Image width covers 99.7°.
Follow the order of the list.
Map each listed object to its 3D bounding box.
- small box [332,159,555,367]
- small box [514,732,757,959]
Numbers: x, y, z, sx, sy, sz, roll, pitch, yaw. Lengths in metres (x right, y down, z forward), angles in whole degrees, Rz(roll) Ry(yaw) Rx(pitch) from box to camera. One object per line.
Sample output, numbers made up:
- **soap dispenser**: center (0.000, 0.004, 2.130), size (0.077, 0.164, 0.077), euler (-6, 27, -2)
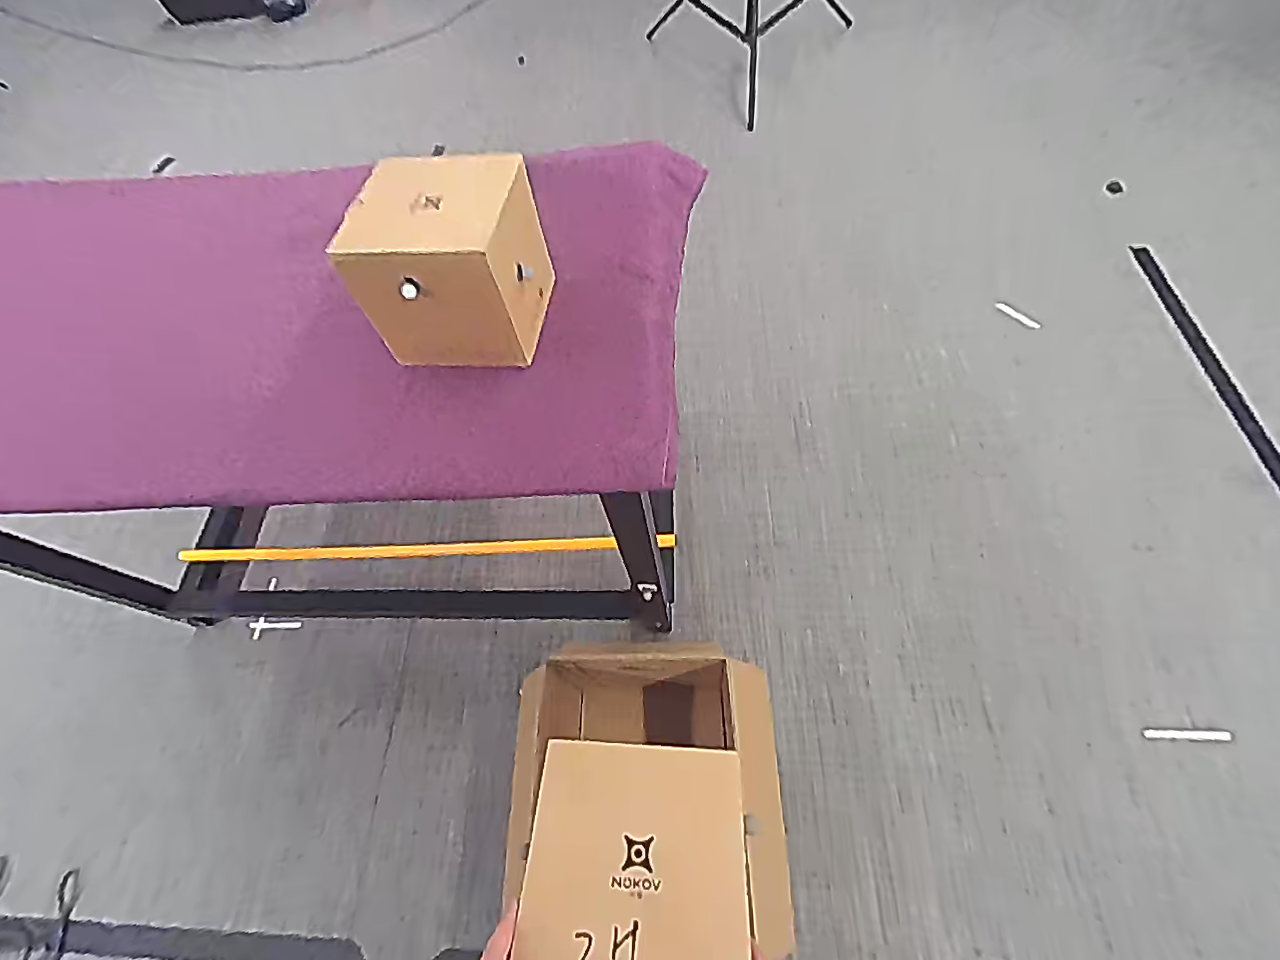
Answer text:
- **small box**: center (-0.212, -0.250, 0.645), size (0.179, 0.176, 0.168), euler (2, 60, 9)
- **small box**: center (0.002, 0.339, 0.458), size (0.168, 0.176, 0.179), euler (2, 46, 4)
